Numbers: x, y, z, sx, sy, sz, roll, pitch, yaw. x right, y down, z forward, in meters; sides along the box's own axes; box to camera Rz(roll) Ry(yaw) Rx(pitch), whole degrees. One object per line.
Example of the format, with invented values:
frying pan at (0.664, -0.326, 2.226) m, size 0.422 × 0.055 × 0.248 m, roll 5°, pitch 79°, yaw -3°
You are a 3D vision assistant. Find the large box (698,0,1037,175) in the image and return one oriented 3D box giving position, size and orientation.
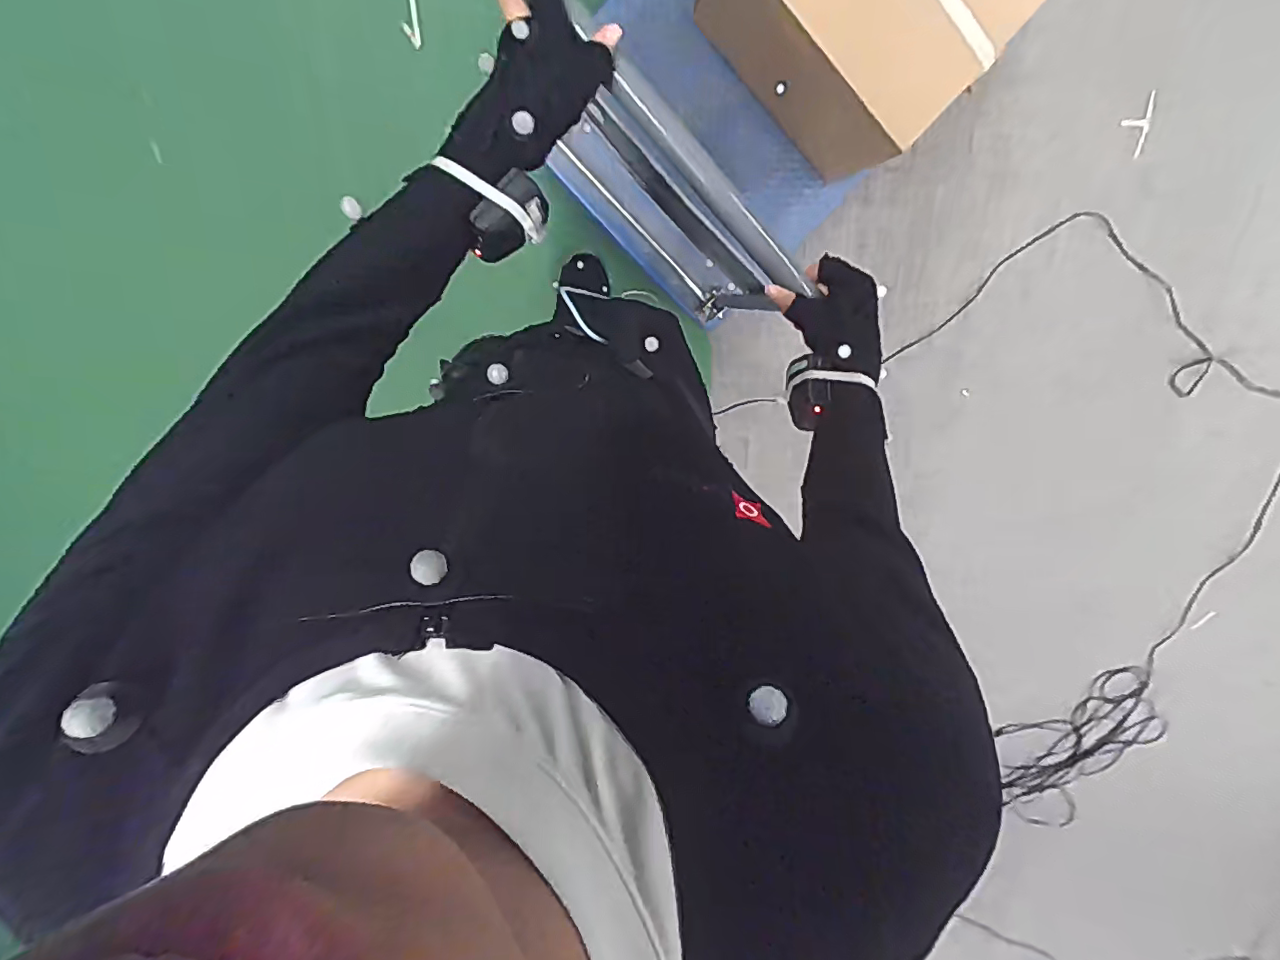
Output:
large box at (0.355, -0.793, 0.886) m, size 0.408 × 0.320 × 0.320 m, roll 40°, pitch 104°, yaw -15°
